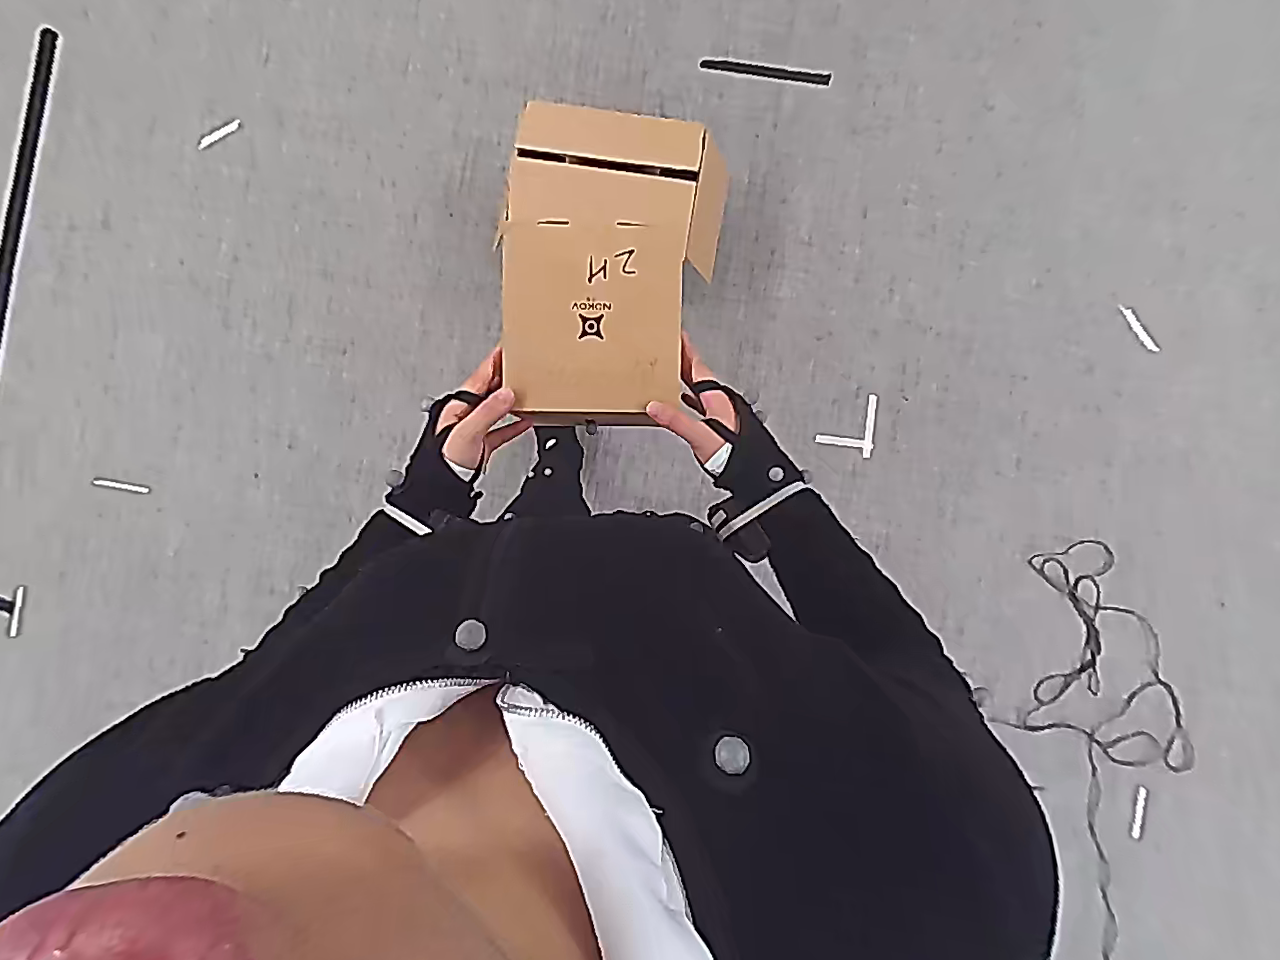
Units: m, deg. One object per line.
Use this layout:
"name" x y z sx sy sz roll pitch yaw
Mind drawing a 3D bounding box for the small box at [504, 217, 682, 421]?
"small box" -0.046 -0.158 0.586 0.168 0.176 0.179 1 90 -2
